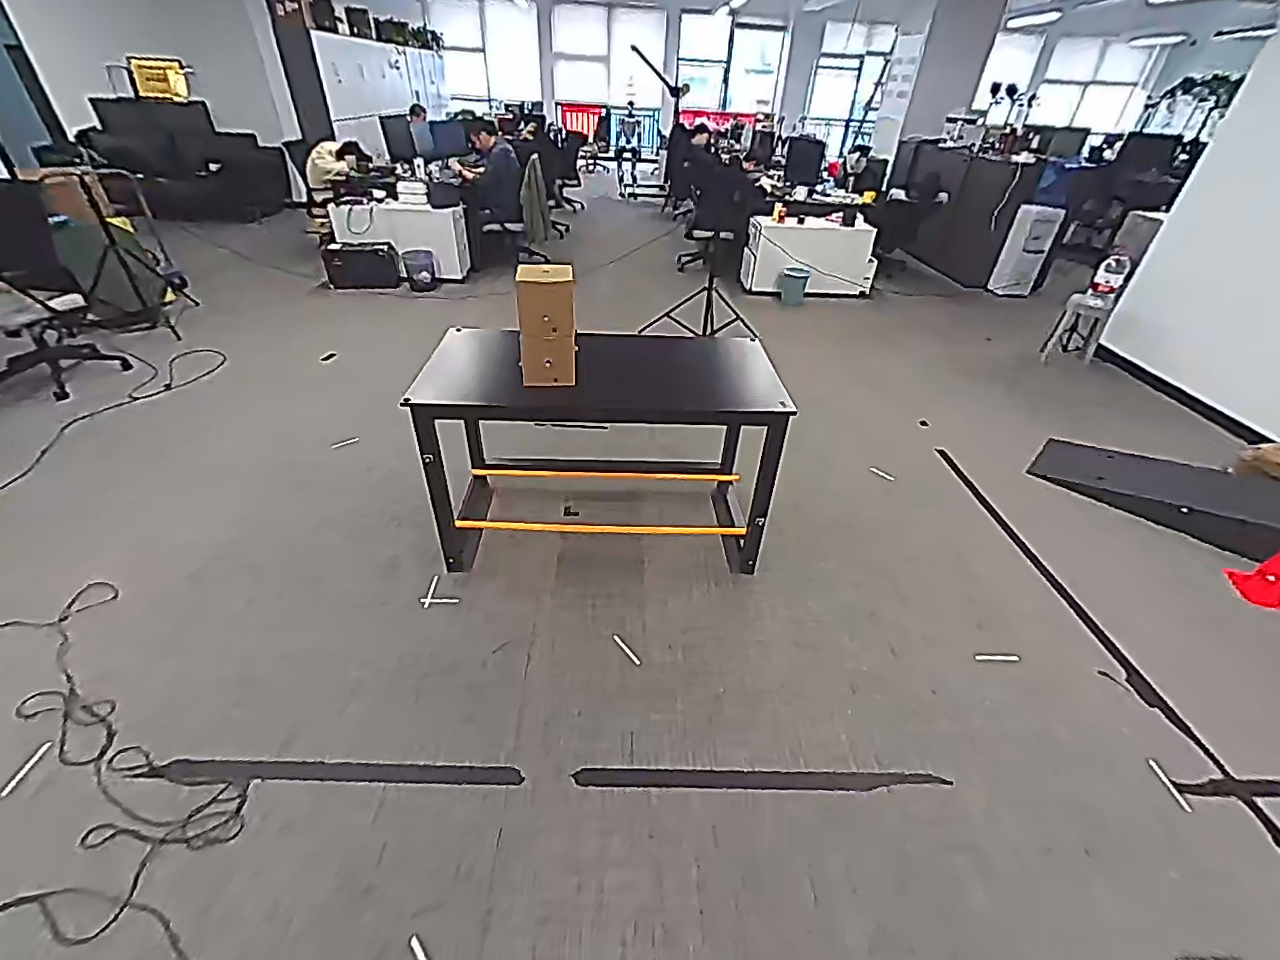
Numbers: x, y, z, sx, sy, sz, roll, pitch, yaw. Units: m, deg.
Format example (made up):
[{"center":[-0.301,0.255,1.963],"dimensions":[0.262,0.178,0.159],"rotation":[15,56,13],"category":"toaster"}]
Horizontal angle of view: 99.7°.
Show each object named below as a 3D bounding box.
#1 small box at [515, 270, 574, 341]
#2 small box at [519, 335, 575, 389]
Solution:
[{"center":[-0.293,-0.544,1.683],"dimensions":[0.168,0.176,0.179],"rotation":[-3,36,-7],"category":"small box"},{"center":[-0.300,-0.407,1.777],"dimensions":[0.168,0.176,0.179],"rotation":[-2,36,-6],"category":"small box"}]
